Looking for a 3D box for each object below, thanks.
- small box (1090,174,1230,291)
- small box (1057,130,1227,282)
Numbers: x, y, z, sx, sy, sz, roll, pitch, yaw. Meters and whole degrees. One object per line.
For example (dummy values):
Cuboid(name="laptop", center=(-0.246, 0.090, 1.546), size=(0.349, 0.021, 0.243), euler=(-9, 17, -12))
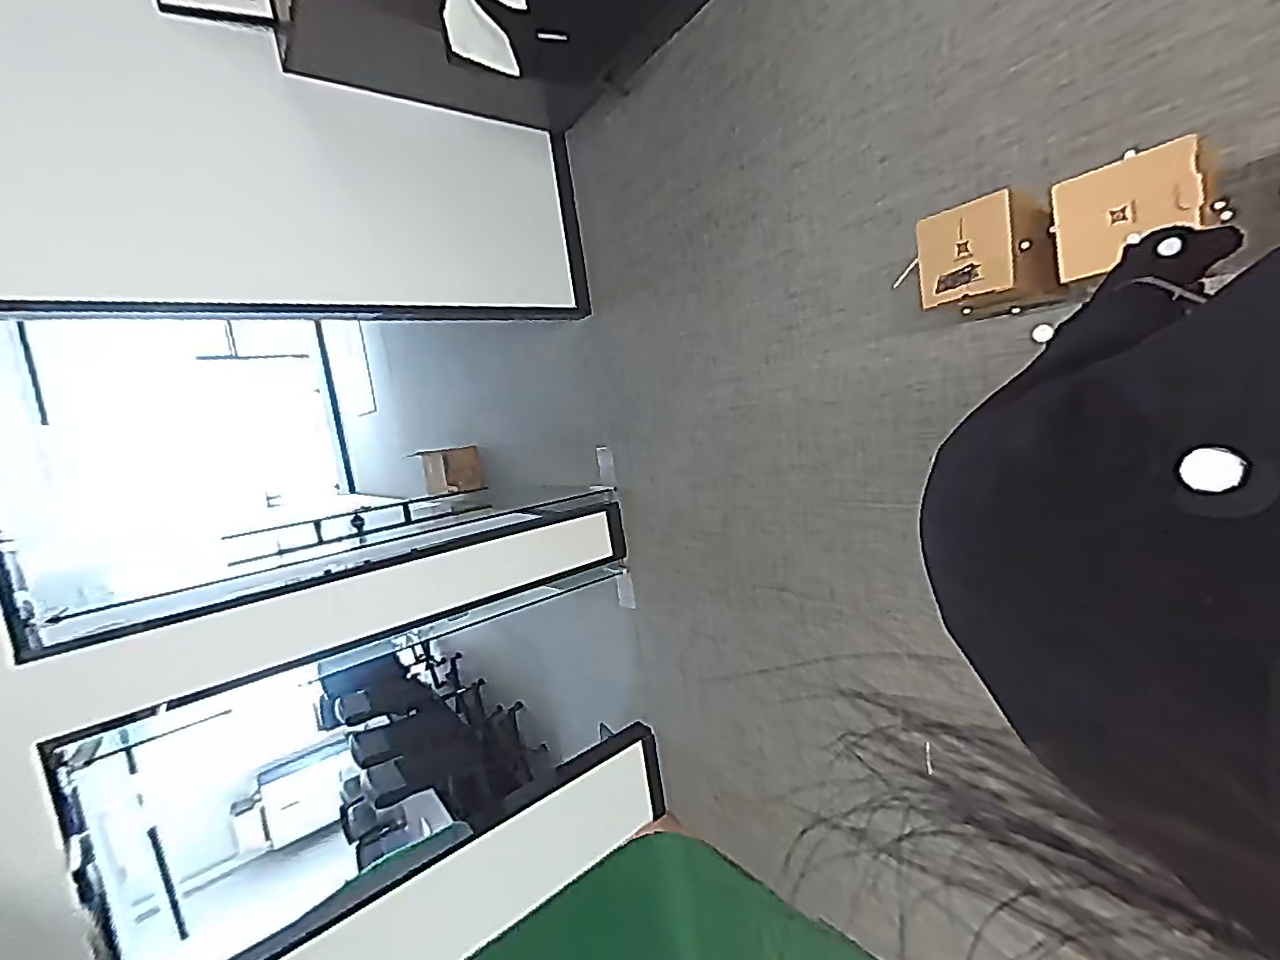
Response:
Cuboid(name="small box", center=(0.956, -0.461, 0.999), size=(0.168, 0.176, 0.179), euler=(-1, 98, 54))
Cuboid(name="small box", center=(0.831, -0.436, 0.898), size=(0.179, 0.176, 0.168), euler=(-4, 98, 52))
